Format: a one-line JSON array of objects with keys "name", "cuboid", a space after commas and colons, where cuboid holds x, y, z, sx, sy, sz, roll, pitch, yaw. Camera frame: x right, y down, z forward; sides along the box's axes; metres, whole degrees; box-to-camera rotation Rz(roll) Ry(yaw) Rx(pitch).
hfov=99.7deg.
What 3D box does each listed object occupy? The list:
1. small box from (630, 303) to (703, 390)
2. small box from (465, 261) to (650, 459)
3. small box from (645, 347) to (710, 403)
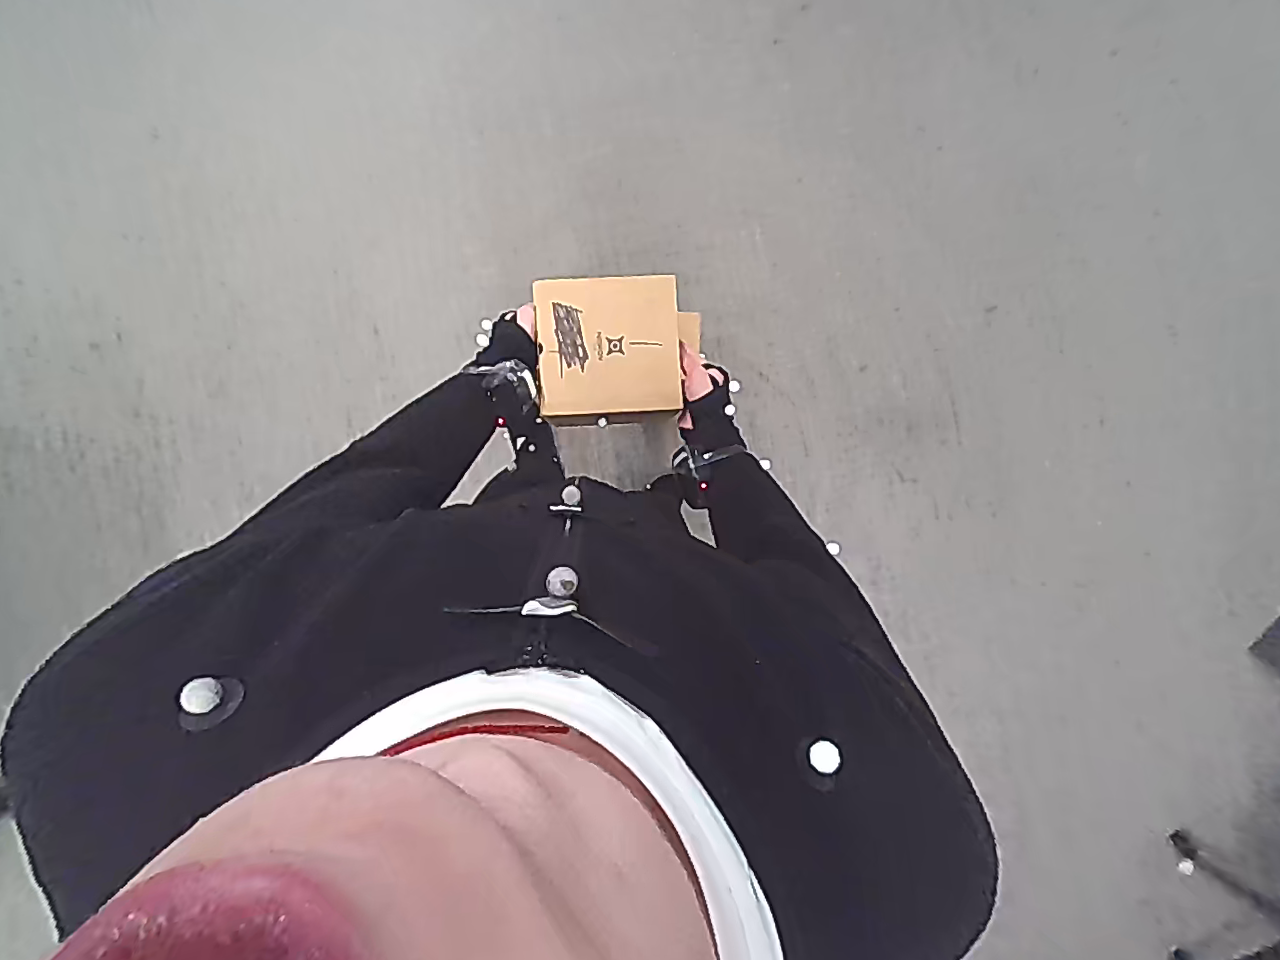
[{"name": "small box", "cuboid": [0.057, -0.315, 1.304, 0.168, 0.176, 0.179, 3, 92, 0]}, {"name": "small box", "cuboid": [-0.106, -0.165, 0.719, 0.179, 0.176, 0.168, -24, 51, -11]}, {"name": "small box", "cuboid": [0.069, -0.327, 1.458, 0.168, 0.176, 0.179, -32, 90, 2]}]
